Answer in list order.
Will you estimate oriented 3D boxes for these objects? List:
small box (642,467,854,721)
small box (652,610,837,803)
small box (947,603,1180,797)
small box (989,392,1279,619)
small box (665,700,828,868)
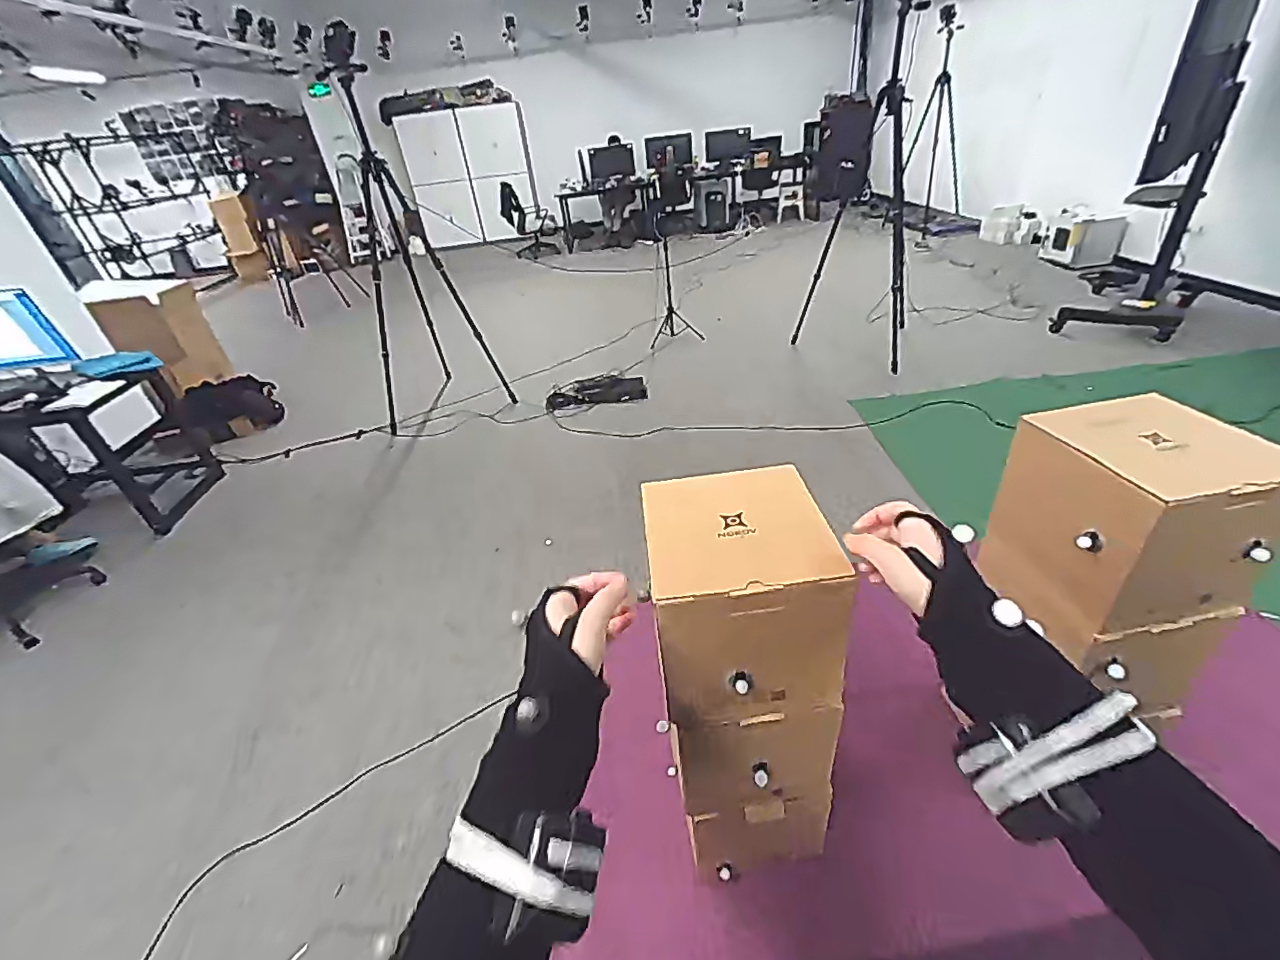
[{"bbox_3d":[0.094,0.110,0.545,0.168,0.176,0.179,-8,34,0],"label":"small box"},{"bbox_3d":[0.112,0.248,0.630,0.168,0.176,0.179,-9,35,-2],"label":"small box"},{"bbox_3d":[0.560,0.302,0.750,0.168,0.176,0.179,-9,34,0],"label":"small box"},{"bbox_3d":[0.518,0.028,0.574,0.168,0.176,0.179,-10,33,-3],"label":"small box"},{"bbox_3d":[0.134,0.383,0.721,0.168,0.176,0.179,-10,33,-3],"label":"small box"}]
